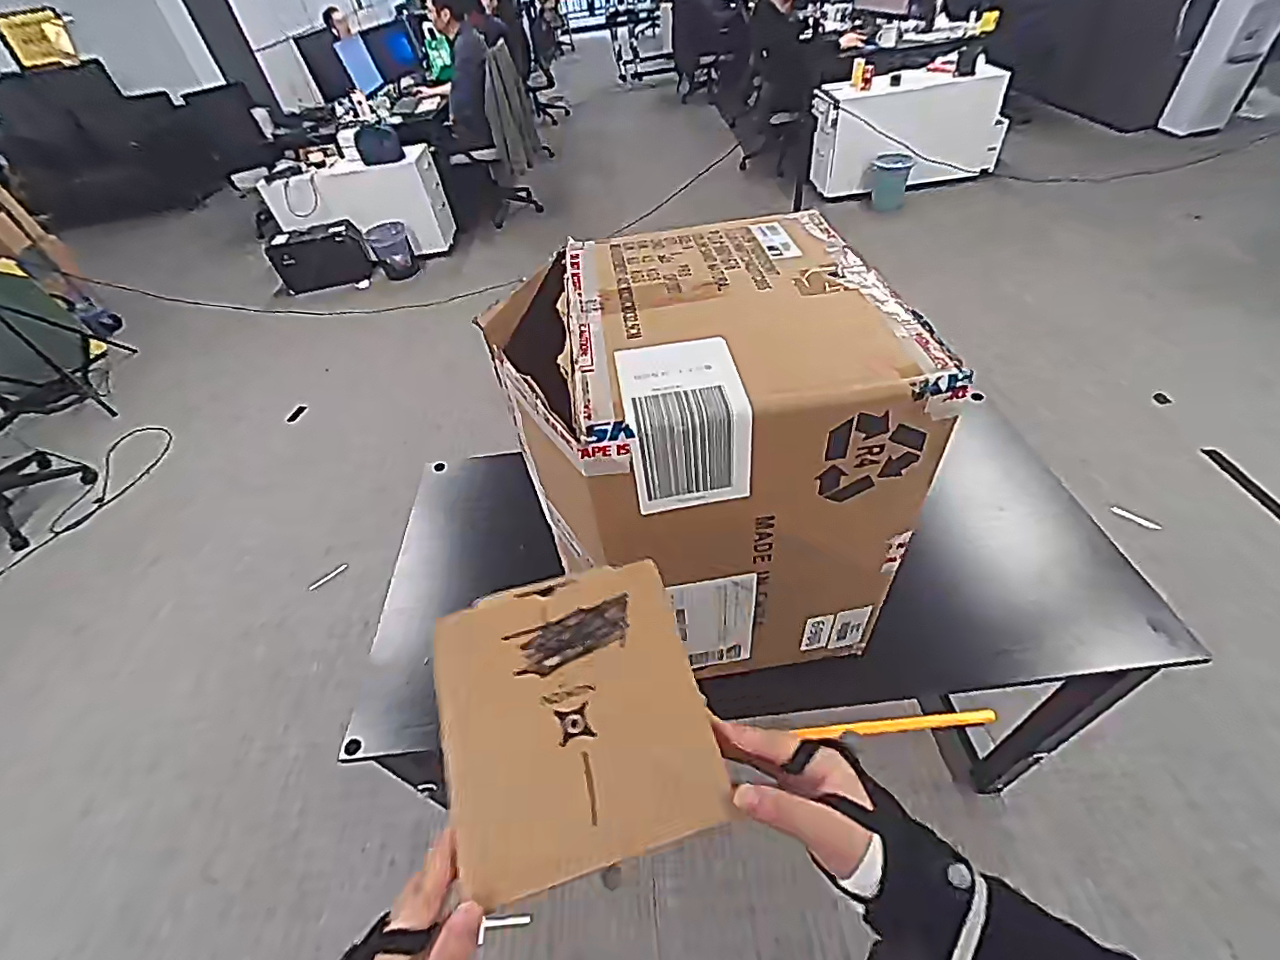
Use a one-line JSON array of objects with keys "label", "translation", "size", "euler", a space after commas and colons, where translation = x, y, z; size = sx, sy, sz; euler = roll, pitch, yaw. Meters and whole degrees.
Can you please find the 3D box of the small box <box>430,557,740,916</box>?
[{"label": "small box", "translation": [-0.045, 0.188, 0.413], "size": [0.168, 0.176, 0.179], "euler": [-16, 60, -10]}]
